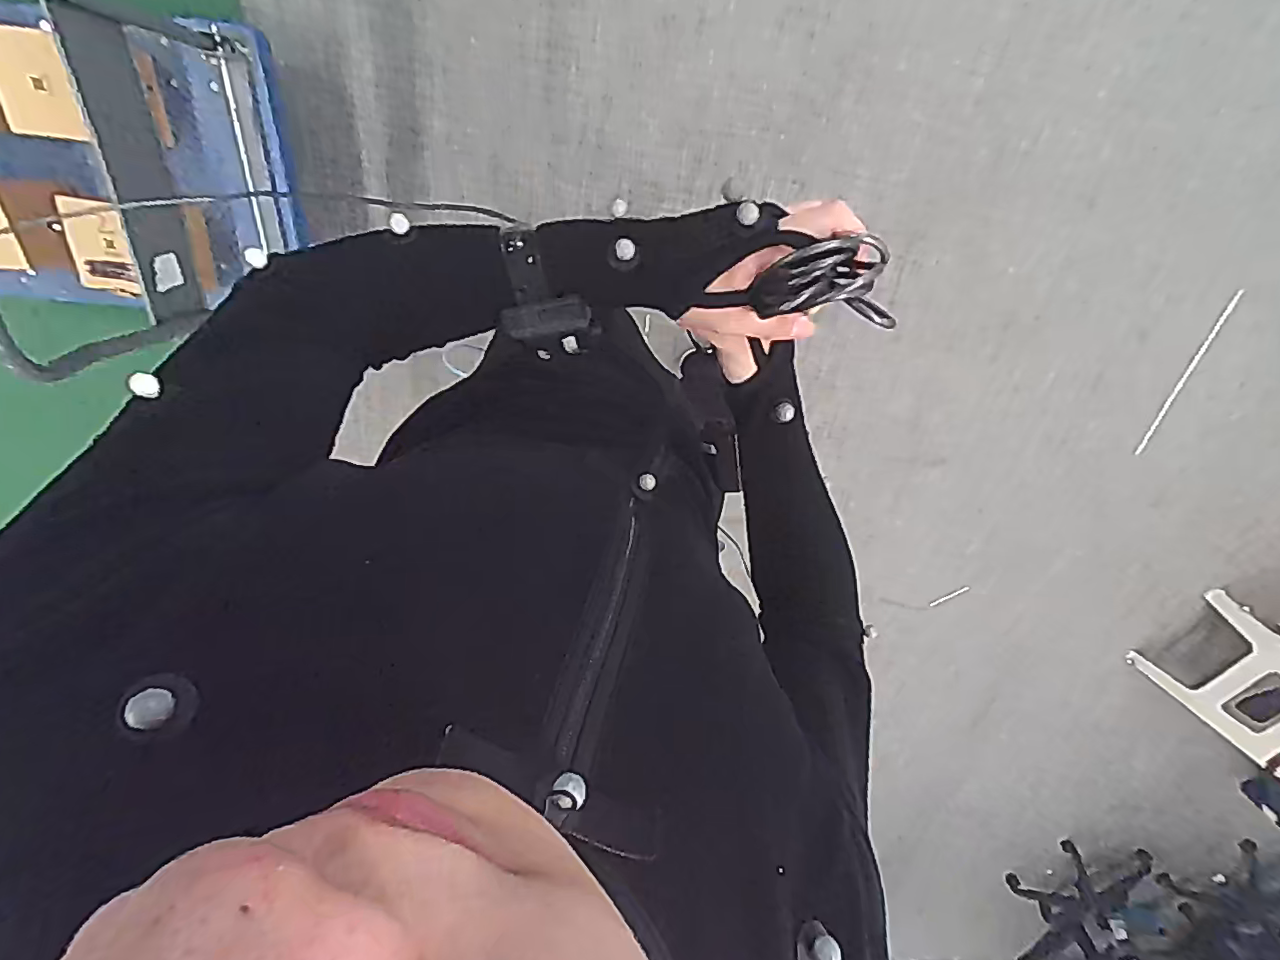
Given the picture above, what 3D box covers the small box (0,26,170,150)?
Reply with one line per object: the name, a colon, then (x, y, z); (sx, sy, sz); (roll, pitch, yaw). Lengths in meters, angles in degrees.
small box: (-1.079, -0.747, 1.045); (0.179, 0.176, 0.168); (5, 118, -2)
